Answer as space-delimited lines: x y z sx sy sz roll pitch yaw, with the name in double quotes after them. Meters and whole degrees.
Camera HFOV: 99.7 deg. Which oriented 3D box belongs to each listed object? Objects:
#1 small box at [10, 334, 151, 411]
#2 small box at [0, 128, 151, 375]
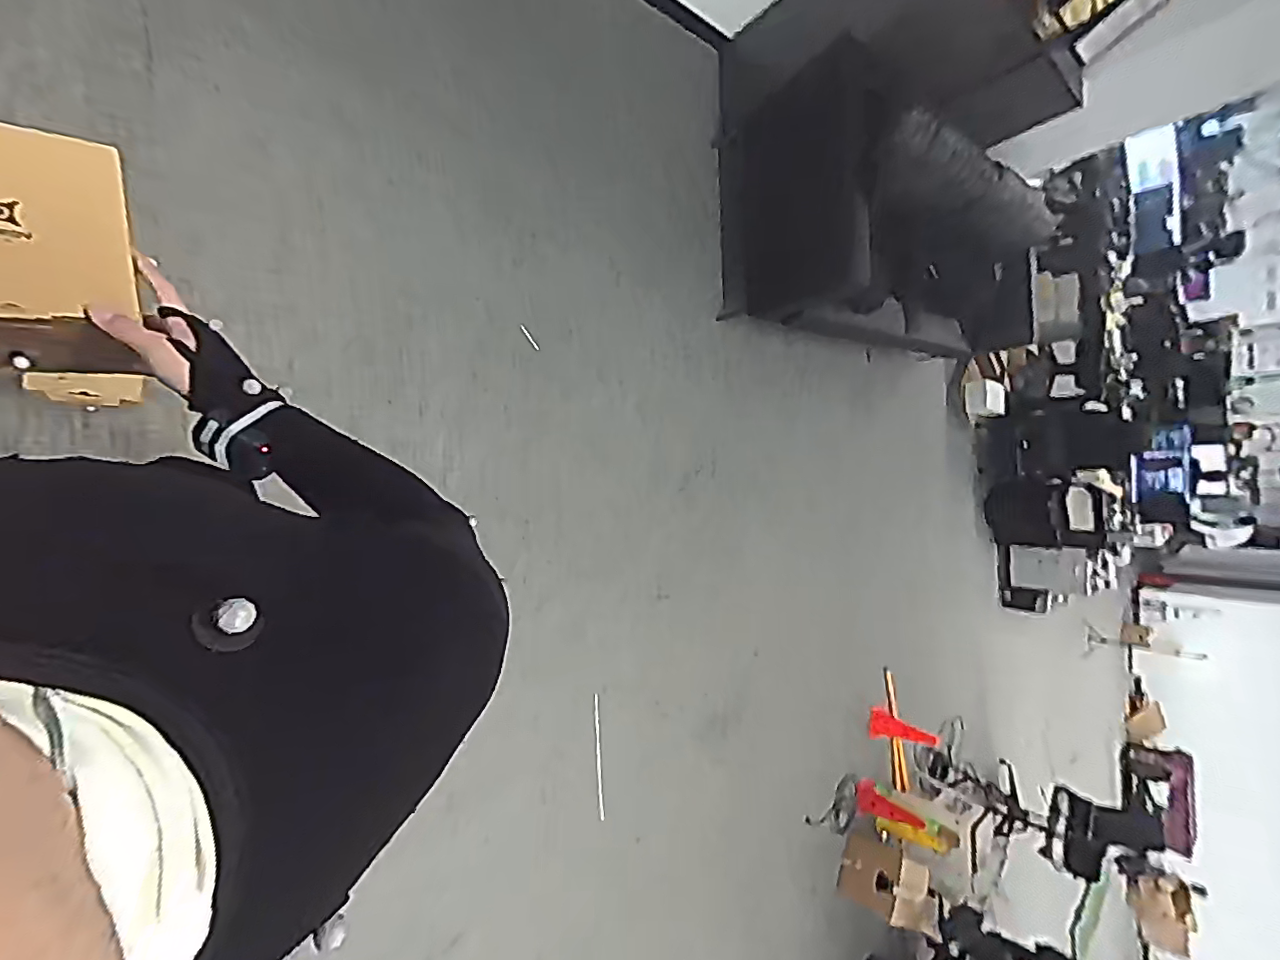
-1.144 -0.252 1.122 0.168 0.176 0.179 12 83 -37 "small box"
-0.598 -0.212 0.526 0.168 0.176 0.179 -9 89 -41 "small box"
